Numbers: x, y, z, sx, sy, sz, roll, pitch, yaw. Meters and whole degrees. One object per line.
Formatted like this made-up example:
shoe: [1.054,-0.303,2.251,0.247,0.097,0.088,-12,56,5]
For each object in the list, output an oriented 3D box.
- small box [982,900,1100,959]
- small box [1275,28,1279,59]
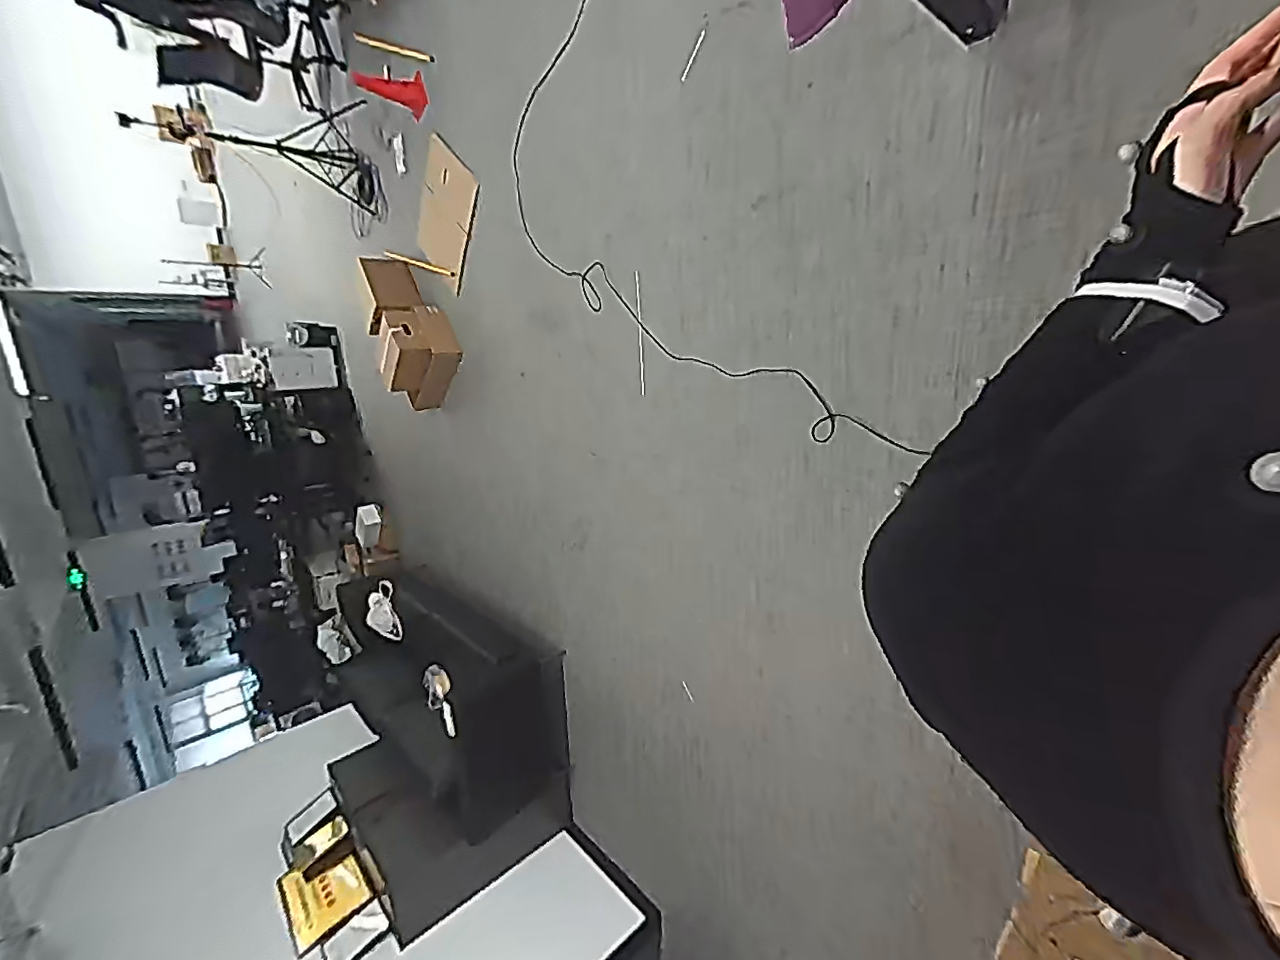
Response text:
small box: [0.714,0.928,0.975,0.168,0.176,0.179,24,119,43]
small box: [0.442,-0.286,0.229,0.179,0.176,0.168,23,130,30]
